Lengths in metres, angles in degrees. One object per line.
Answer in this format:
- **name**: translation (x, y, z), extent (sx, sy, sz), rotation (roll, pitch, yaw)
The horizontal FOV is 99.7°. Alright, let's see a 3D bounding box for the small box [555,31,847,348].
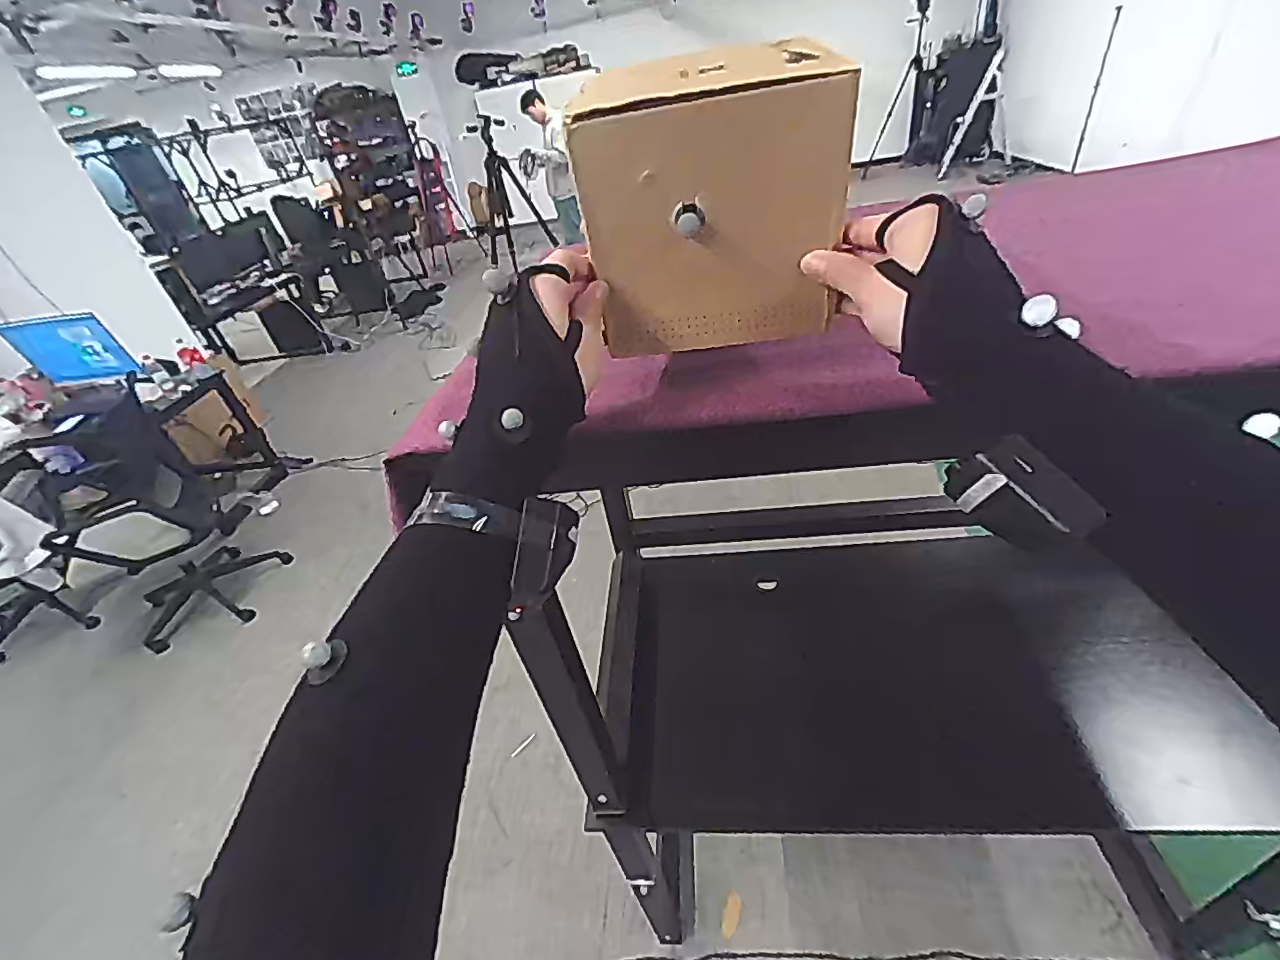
- **small box**: translation (0.051, -0.220, 0.424), extent (0.179, 0.176, 0.168), rotation (-6, 44, 9)
